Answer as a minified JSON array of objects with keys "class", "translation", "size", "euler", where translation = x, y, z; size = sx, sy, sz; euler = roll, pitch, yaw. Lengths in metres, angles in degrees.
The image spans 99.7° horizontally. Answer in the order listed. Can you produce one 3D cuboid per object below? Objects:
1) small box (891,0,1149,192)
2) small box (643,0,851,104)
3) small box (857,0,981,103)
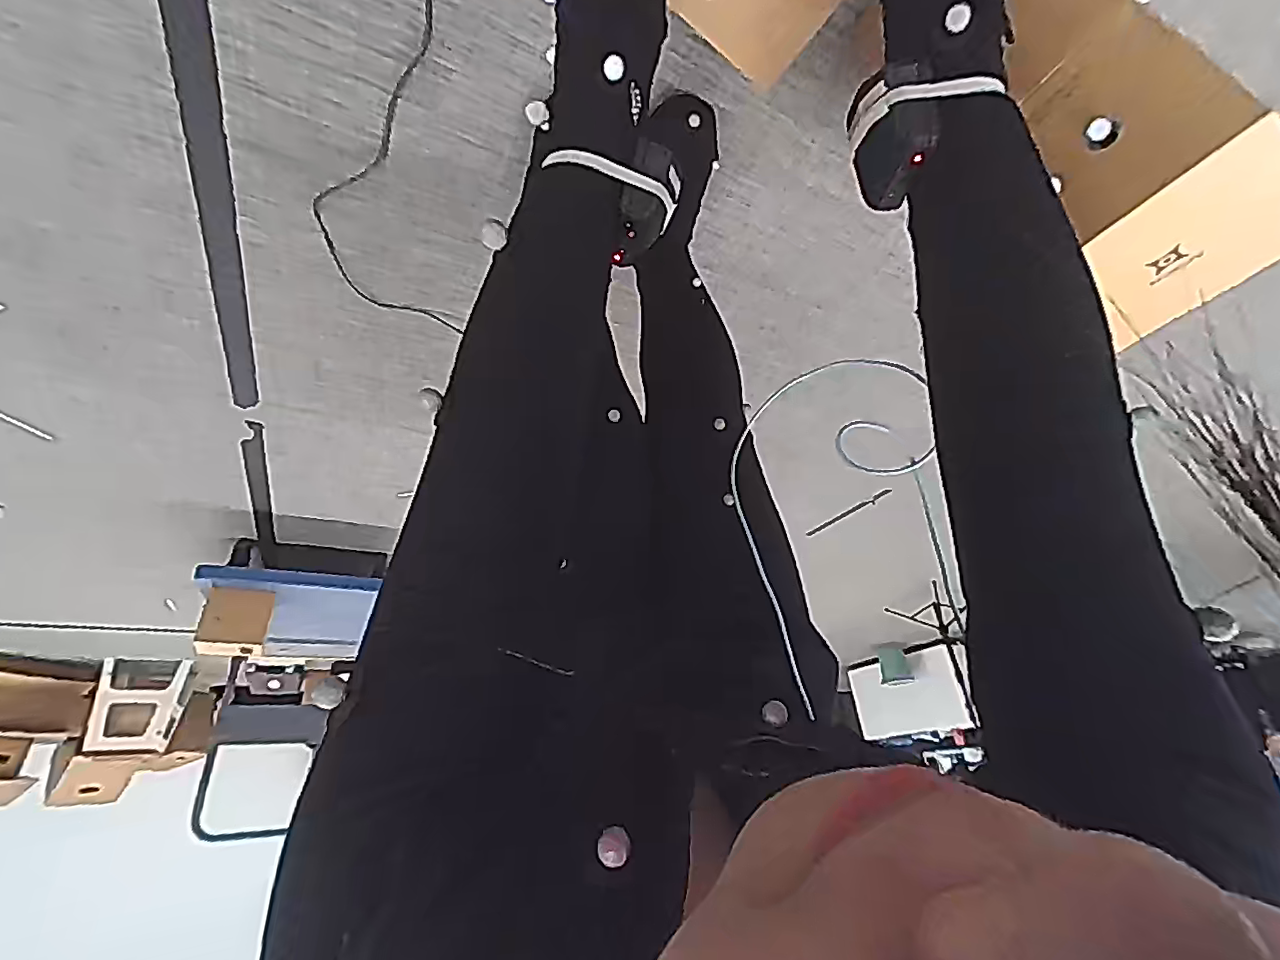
[{"class":"small box","translation":[0.395,-0.379,0.555],"size":[0.179,0.176,0.168],"euler":[13,146,-30]},{"class":"small box","translation":[0.083,-0.444,0.395],"size":[0.168,0.176,0.179],"euler":[16,145,-32]},{"class":"small box","translation":[0.391,-0.521,0.640],"size":[0.179,0.176,0.168],"euler":[12,146,-28]}]
